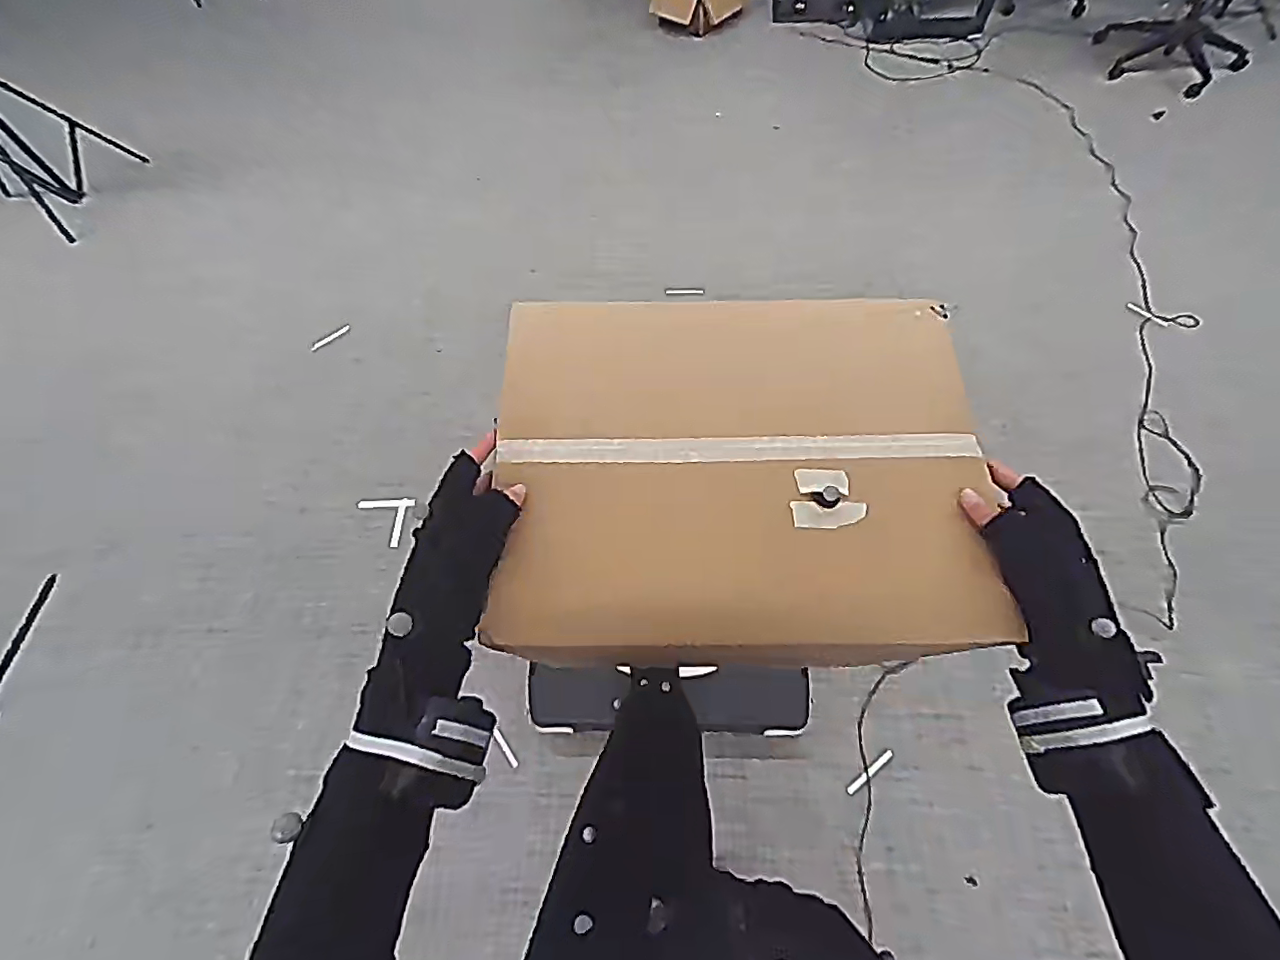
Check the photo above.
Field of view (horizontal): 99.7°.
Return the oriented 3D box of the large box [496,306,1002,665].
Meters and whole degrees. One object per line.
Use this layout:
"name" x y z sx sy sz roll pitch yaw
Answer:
"large box" 0.079 0.031 0.609 0.408 0.320 0.320 -1 69 -1
